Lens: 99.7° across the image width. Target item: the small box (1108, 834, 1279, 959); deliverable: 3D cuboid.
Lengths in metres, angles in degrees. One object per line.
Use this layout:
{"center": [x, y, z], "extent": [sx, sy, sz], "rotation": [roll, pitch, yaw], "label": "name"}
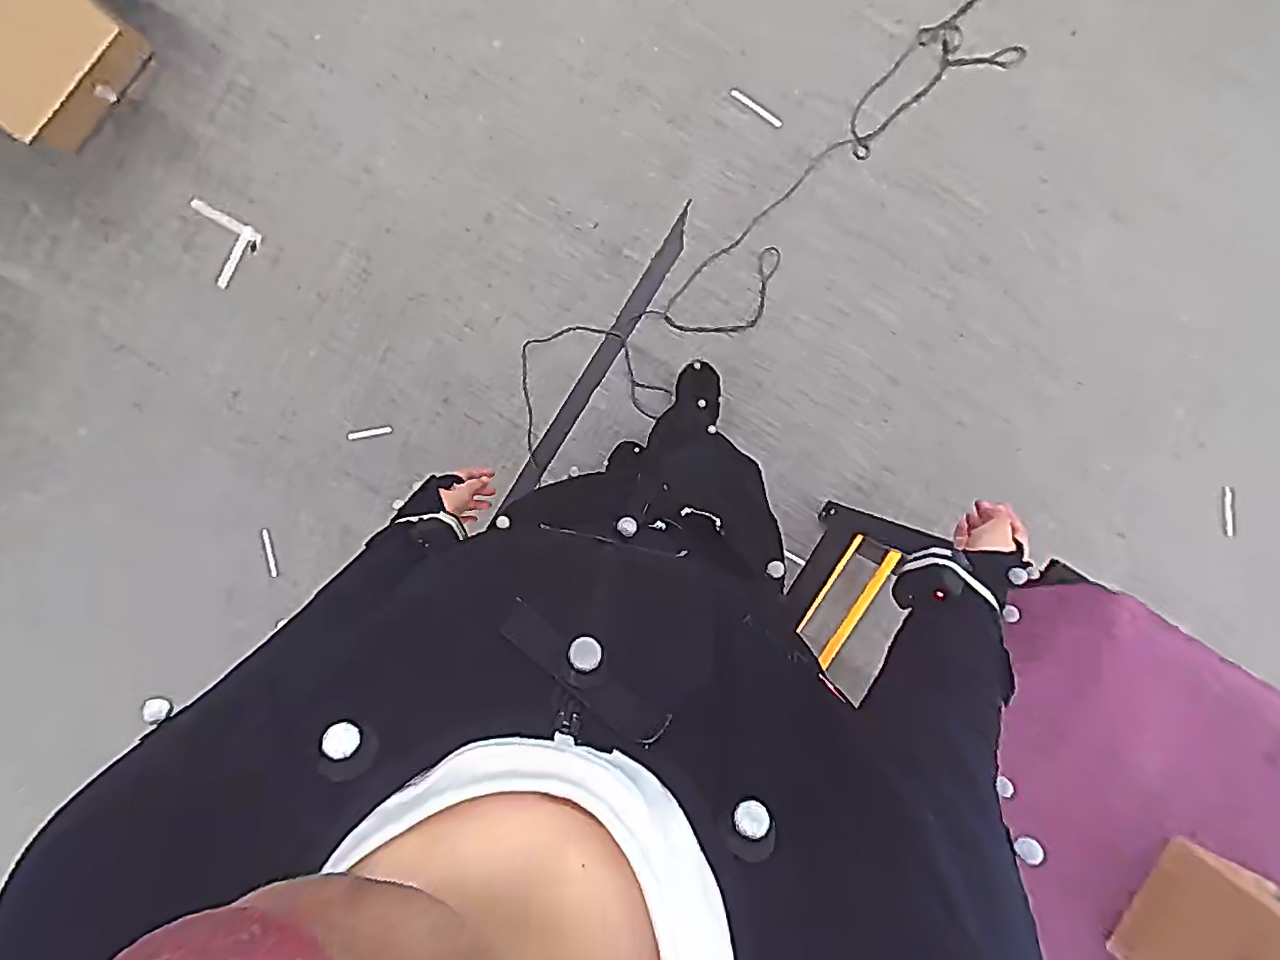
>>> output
{"center": [0.720, 0.580, 0.641], "extent": [0.168, 0.176, 0.179], "rotation": [28, 94, -5], "label": "small box"}
